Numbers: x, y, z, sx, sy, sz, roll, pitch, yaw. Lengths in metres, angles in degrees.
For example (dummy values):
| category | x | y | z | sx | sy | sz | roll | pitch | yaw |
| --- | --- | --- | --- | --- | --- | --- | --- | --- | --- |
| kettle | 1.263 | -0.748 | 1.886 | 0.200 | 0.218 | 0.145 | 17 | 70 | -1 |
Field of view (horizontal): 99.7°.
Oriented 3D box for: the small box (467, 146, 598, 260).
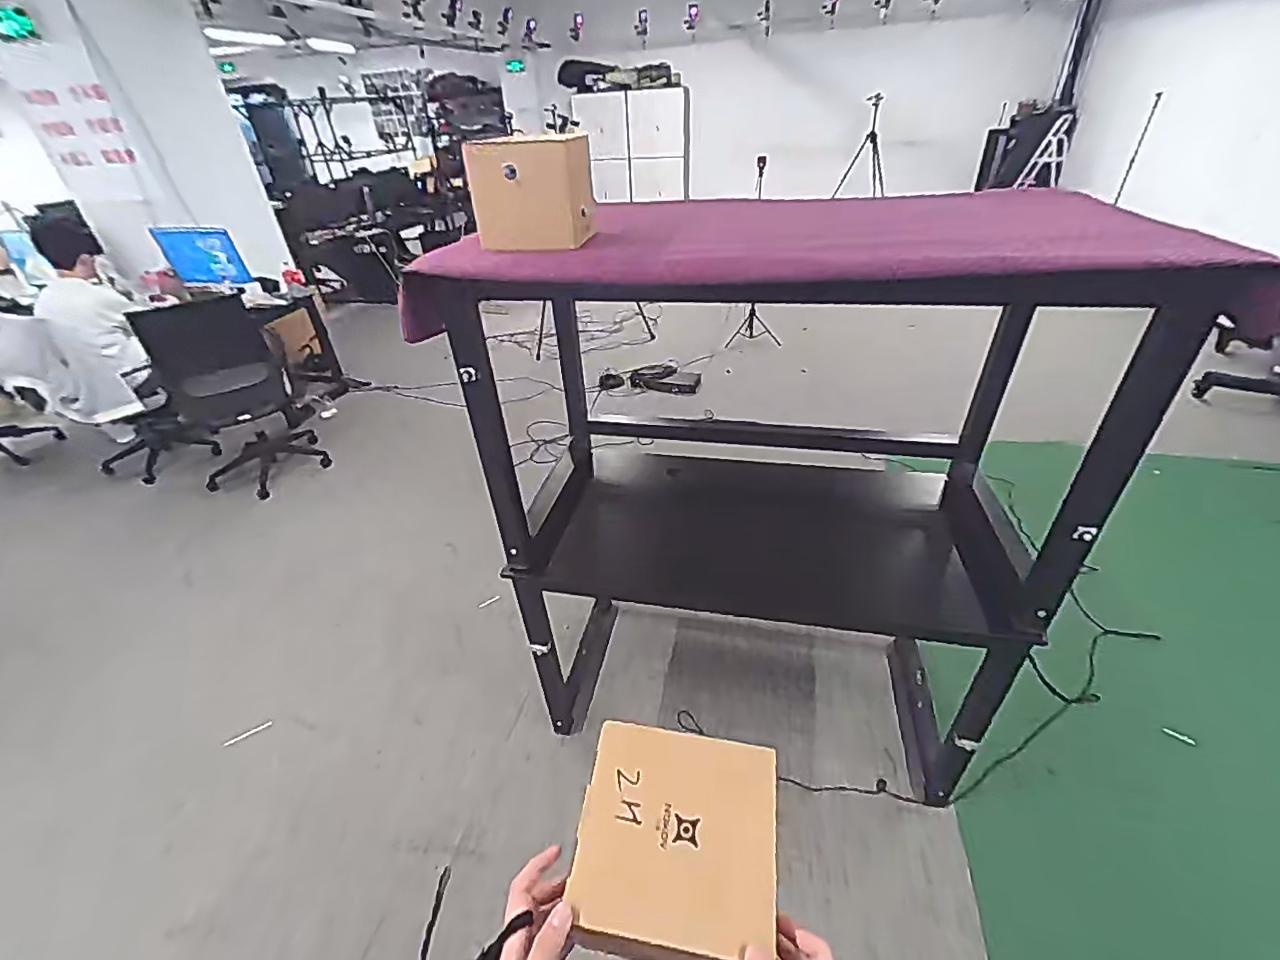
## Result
| category | x | y | z | sx | sy | sz | roll | pitch | yaw |
| --- | --- | --- | --- | --- | --- | --- | --- | --- | --- |
| small box | -0.184 | -0.503 | 0.982 | 0.179 | 0.176 | 0.168 | 4 | 34 | 9 |
